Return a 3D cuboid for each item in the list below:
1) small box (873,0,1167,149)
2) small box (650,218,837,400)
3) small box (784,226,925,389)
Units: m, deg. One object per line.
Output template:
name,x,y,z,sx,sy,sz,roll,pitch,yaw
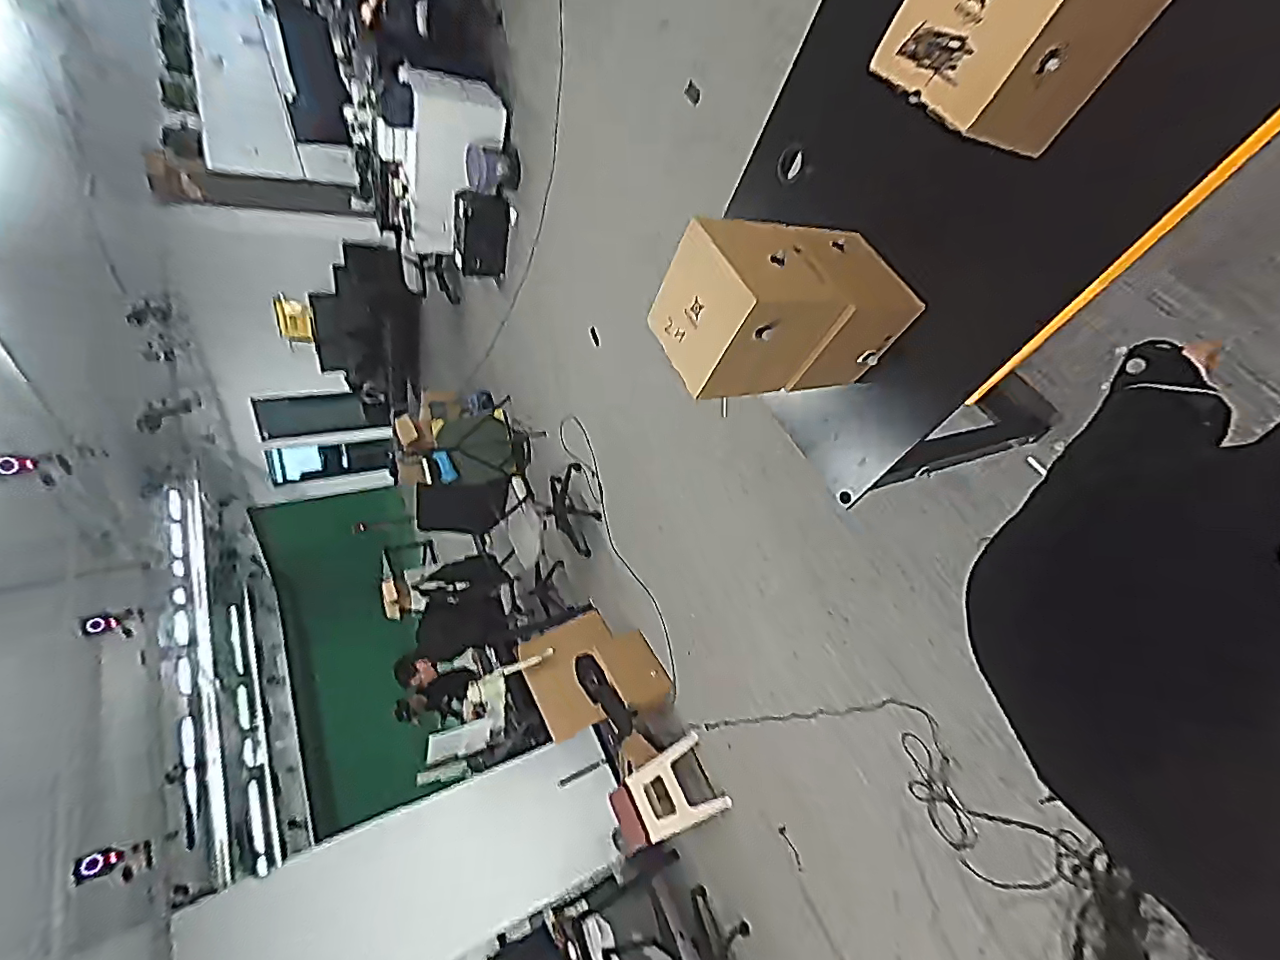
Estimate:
small box,0.401,-0.486,0.575,0.168,0.176,0.179,61,145,26
small box,0.145,-0.237,0.760,0.168,0.176,0.179,63,147,25
small box,0.289,-0.264,0.837,0.179,0.176,0.168,62,147,24
